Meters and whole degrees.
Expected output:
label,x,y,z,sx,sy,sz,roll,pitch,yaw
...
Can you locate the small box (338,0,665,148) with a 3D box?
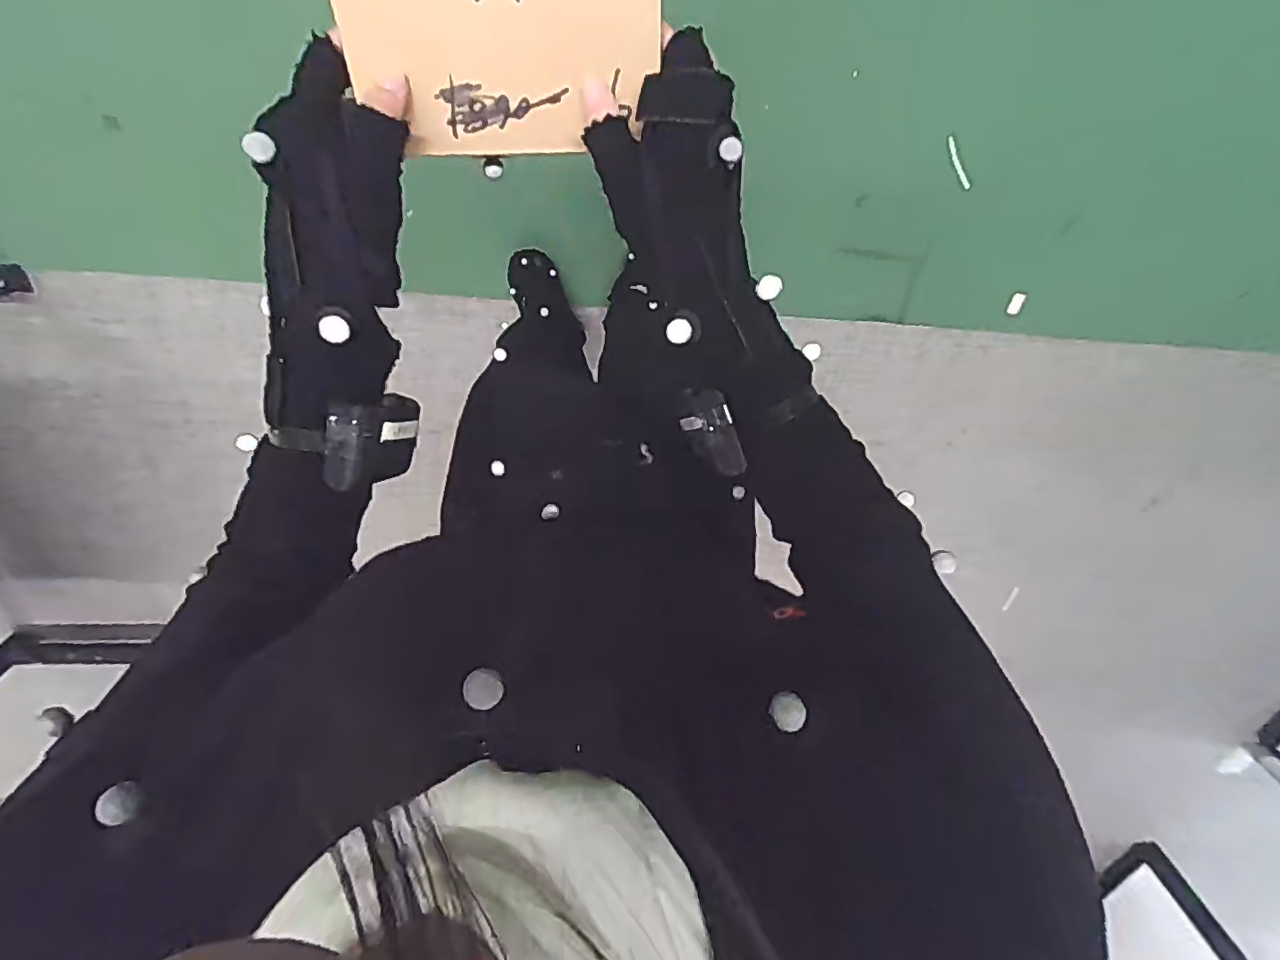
label,x,y,z,sx,sy,sz,roll,pitch,yaw
small box,-0.076,-0.306,0.324,0.168,0.176,0.179,-4,126,-4
